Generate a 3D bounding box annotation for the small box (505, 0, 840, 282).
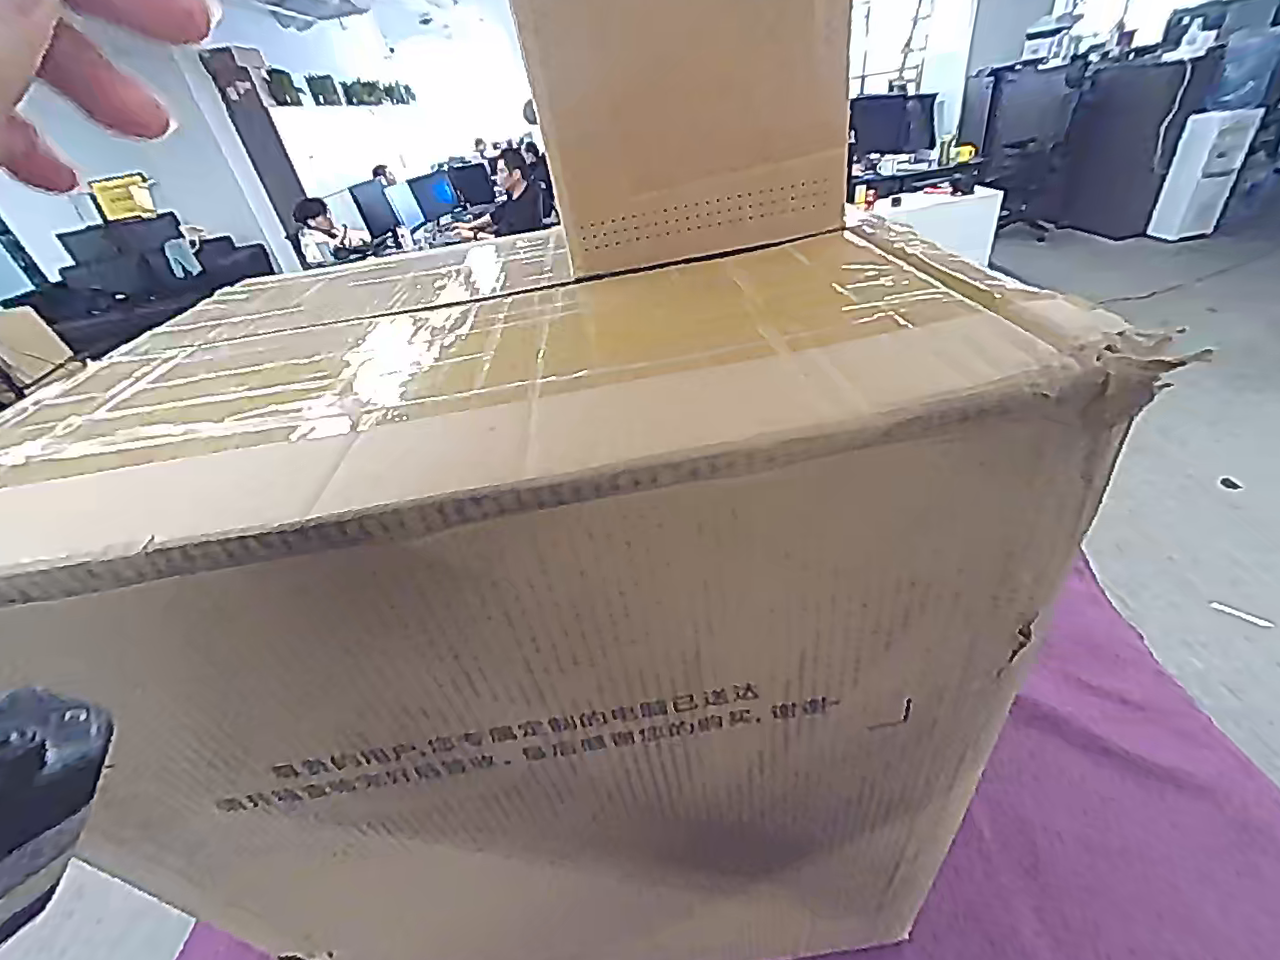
[{"bbox_3d":[0.024,-0.243,0.359,0.179,0.176,0.168,-10,34,1],"label":"small box"}]
